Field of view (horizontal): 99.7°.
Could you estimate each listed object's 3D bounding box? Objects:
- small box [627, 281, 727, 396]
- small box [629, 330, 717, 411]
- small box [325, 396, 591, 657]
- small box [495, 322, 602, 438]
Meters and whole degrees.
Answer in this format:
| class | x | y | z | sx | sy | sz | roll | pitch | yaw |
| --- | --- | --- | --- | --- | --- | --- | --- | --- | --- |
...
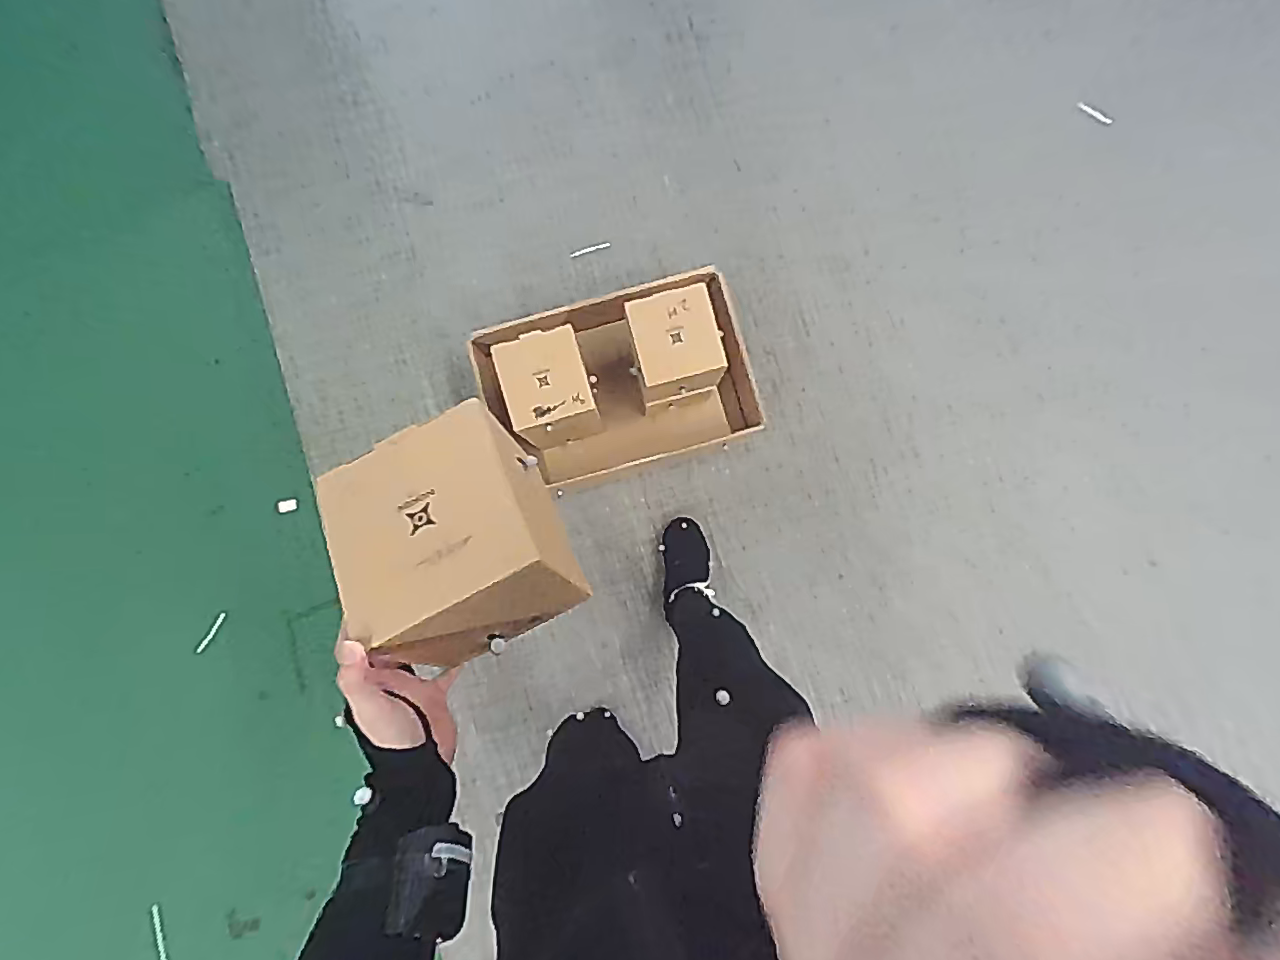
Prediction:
| class | x | y | z | sx | sy | sz | roll | pitch | yaw |
| --- | --- | --- | --- | --- | --- | --- | --- | --- | --- |
| small box | 0.075 | -0.282 | 1.129 | 0.168 | 0.176 | 0.179 | -14 | 87 | 1 |
| small box | 0.078 | -0.271 | 1.294 | 0.168 | 0.176 | 0.179 | -15 | 87 | 1 |
| small box | -0.168 | 0.056 | 0.534 | 0.168 | 0.176 | 0.179 | -27 | 66 | -1 |
| small box | -0.183 | -0.199 | 1.124 | 0.168 | 0.176 | 0.179 | -17 | 87 | 0 |
